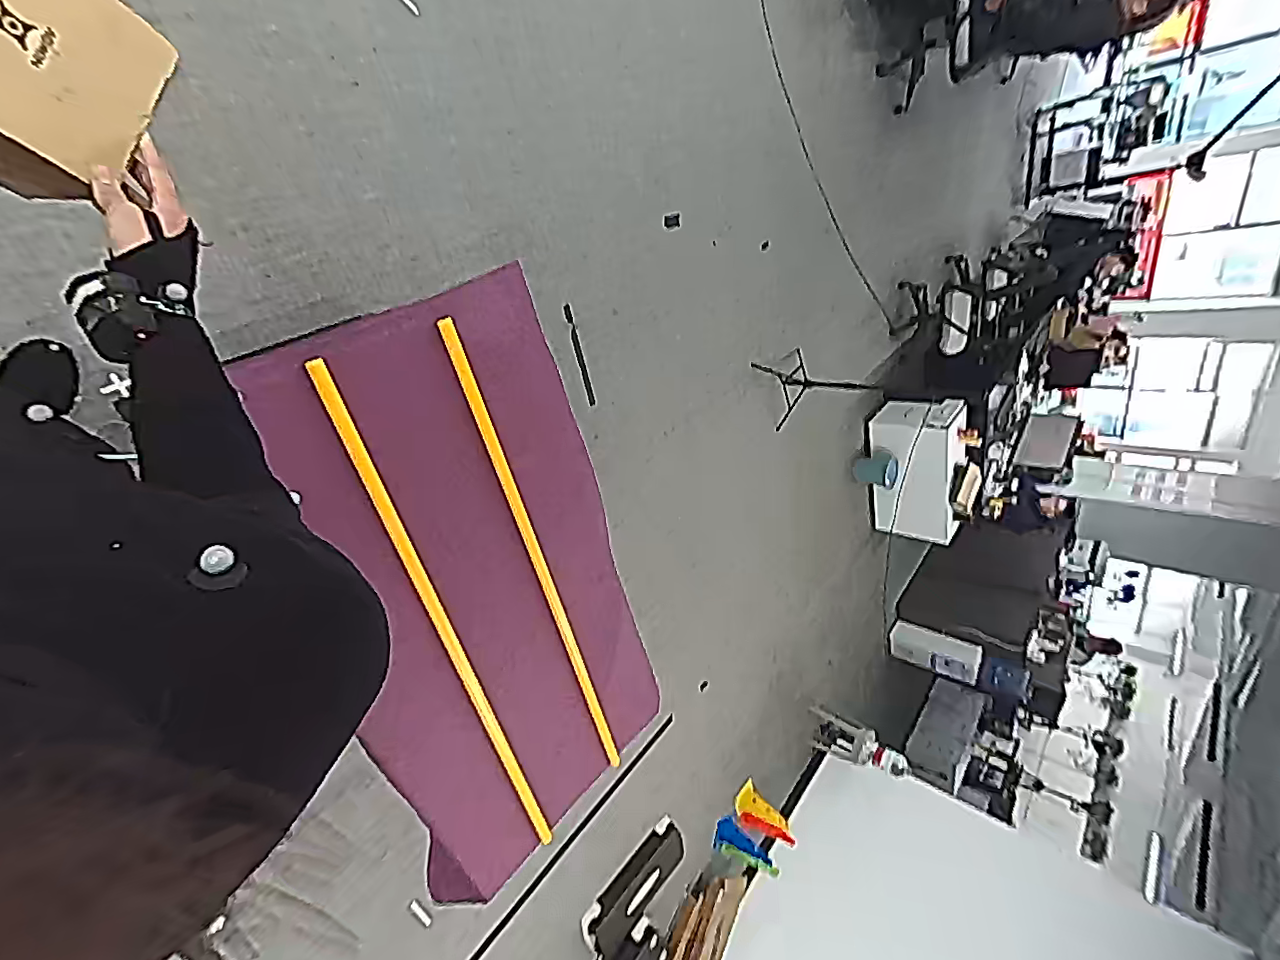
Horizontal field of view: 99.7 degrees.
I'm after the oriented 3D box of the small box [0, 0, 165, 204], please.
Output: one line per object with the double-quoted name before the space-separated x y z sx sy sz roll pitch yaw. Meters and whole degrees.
"small box" -0.592 -0.375 0.476 0.179 0.176 0.168 34 70 -68
